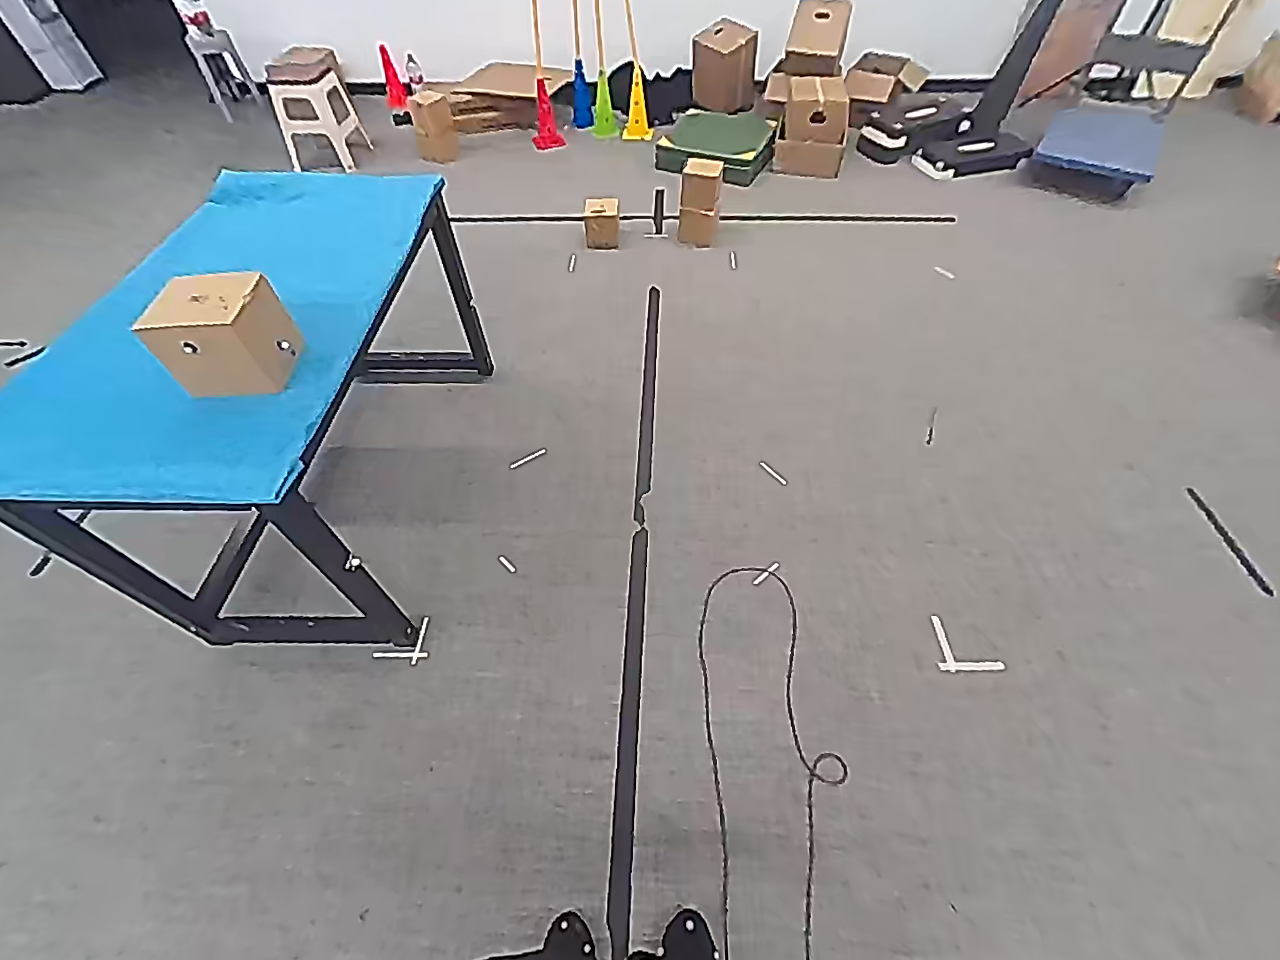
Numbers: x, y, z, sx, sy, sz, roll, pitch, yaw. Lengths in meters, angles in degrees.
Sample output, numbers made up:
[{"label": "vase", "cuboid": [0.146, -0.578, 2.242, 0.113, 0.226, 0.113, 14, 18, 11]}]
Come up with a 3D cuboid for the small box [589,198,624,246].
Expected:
[{"label": "small box", "cuboid": [-0.167, -1.316, 2.762, 0.168, 0.176, 0.179, 0, 51, 1]}]

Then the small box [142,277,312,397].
[{"label": "small box", "cuboid": [-0.797, -0.279, 1.067, 0.179, 0.176, 0.168, 0, 53, -1]}]

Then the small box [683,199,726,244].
[{"label": "small box", "cuboid": [0.327, -1.334, 2.768, 0.179, 0.176, 0.168, 15, 53, 11]}]

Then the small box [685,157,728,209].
[{"label": "small box", "cuboid": [0.323, -1.456, 2.654, 0.179, 0.176, 0.168, 13, 54, 10]}]
